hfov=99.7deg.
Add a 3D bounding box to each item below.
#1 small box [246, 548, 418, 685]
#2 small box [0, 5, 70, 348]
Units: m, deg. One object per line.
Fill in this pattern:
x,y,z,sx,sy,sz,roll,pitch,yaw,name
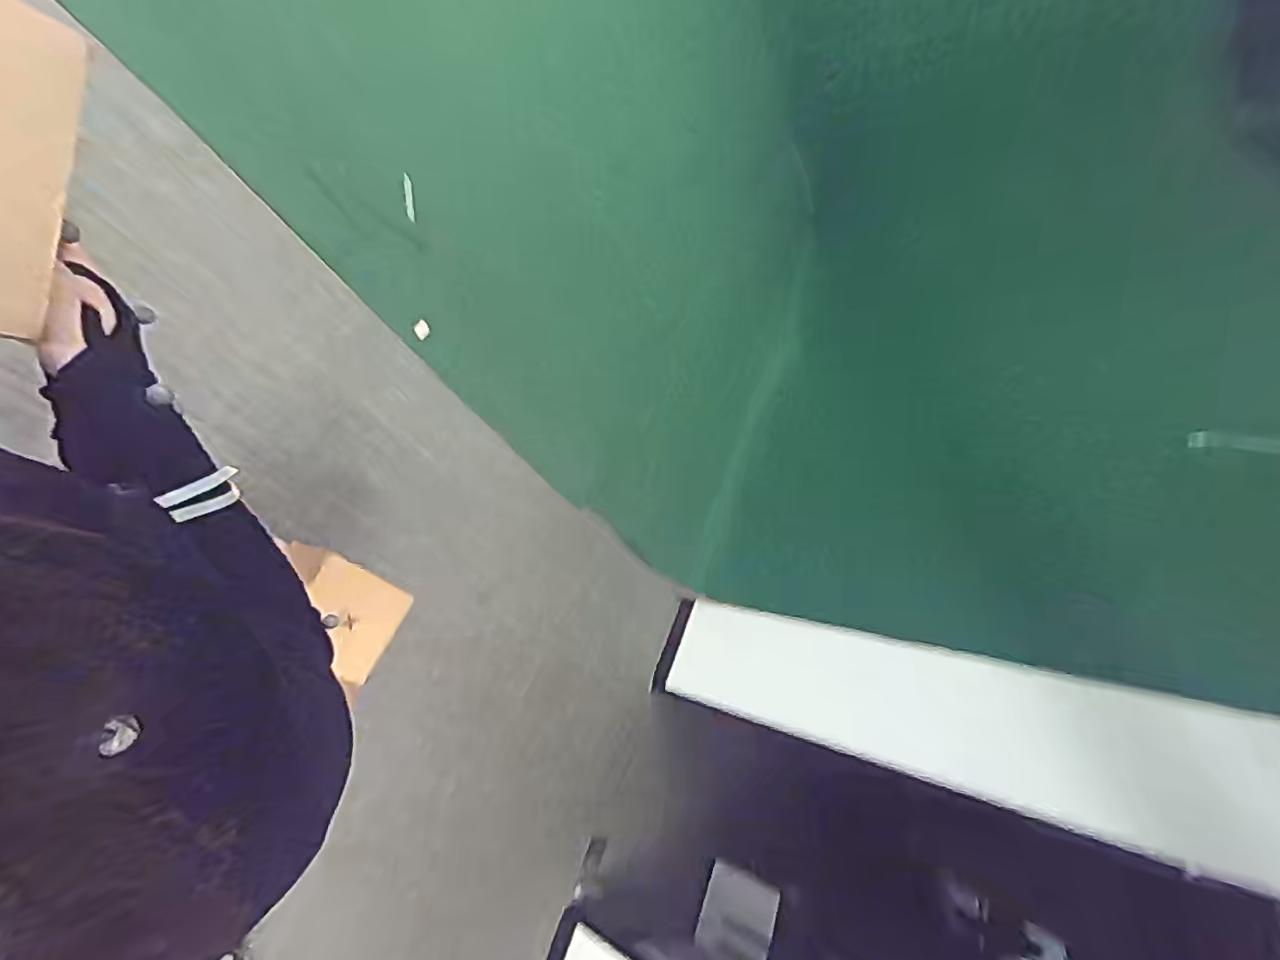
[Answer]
-0.545,0.235,0.960,0.179,0.176,0.168,47,58,-40,small box
-0.443,-0.187,0.291,0.168,0.176,0.179,6,101,-52,small box
